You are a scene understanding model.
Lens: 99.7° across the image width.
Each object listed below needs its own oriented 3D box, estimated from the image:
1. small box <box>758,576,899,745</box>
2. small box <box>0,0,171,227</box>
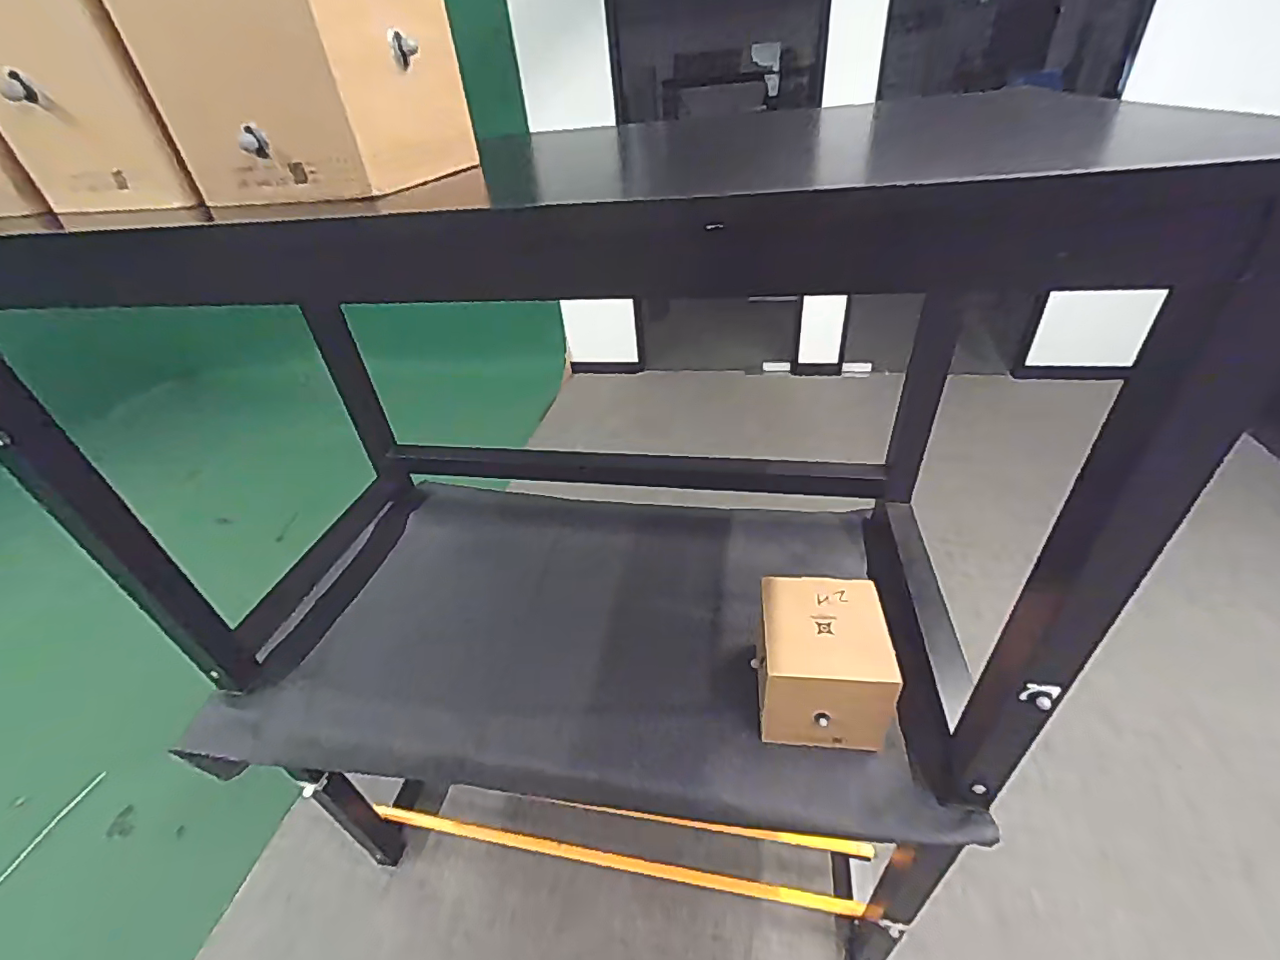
[{"bbox_3d":[0.263,0.265,0.799,0.168,0.176,0.179,1,37,9],"label":"small box"},{"bbox_3d":[-0.623,-0.358,0.531,0.168,0.176,0.179,3,39,10],"label":"small box"}]
